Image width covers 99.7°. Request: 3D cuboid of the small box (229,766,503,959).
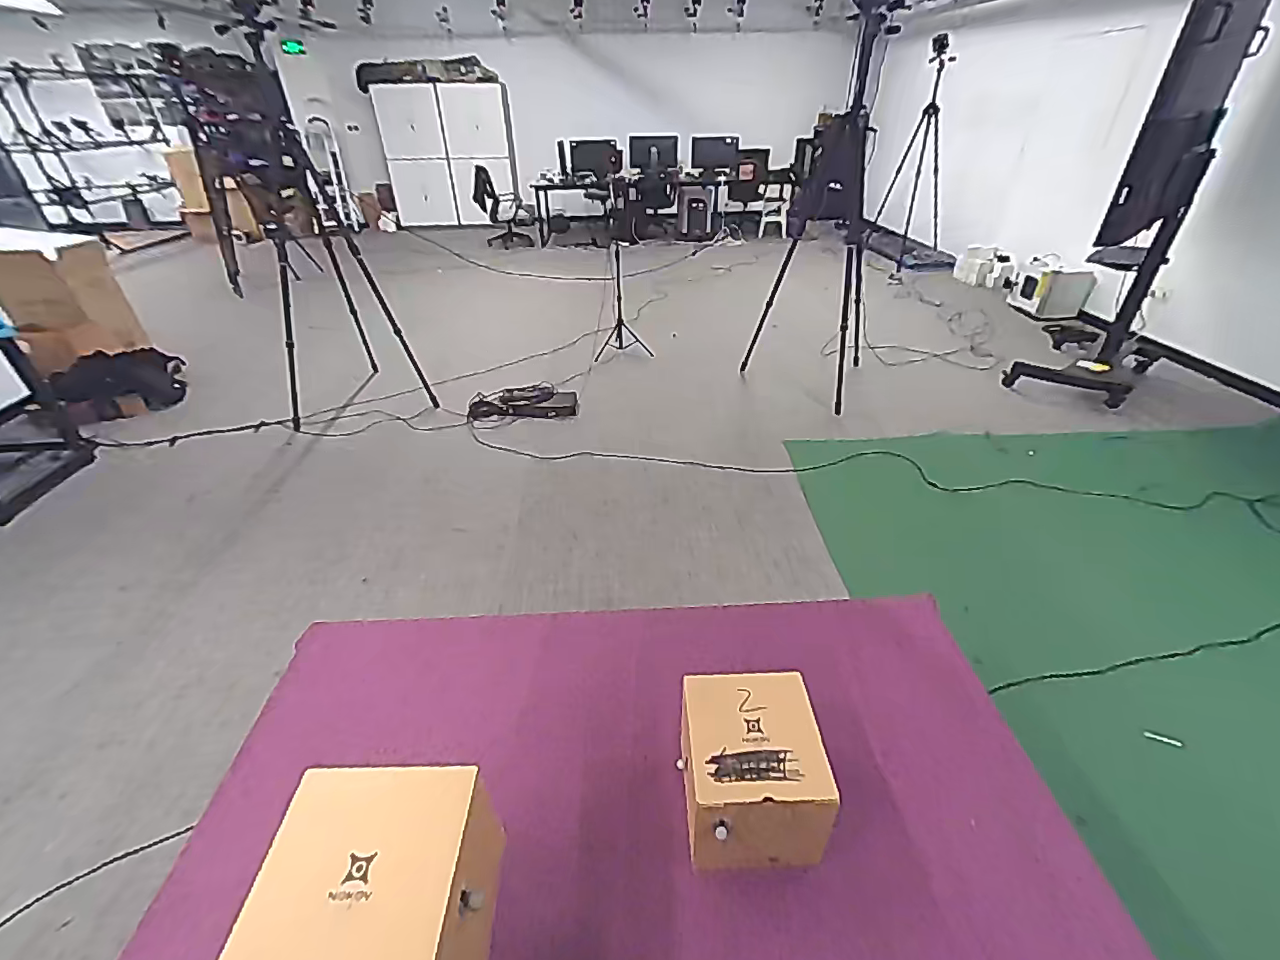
[{"bbox_3d":[-0.234,0.398,0.511,0.168,0.176,0.179,-1,38,0],"label":"small box"}]
